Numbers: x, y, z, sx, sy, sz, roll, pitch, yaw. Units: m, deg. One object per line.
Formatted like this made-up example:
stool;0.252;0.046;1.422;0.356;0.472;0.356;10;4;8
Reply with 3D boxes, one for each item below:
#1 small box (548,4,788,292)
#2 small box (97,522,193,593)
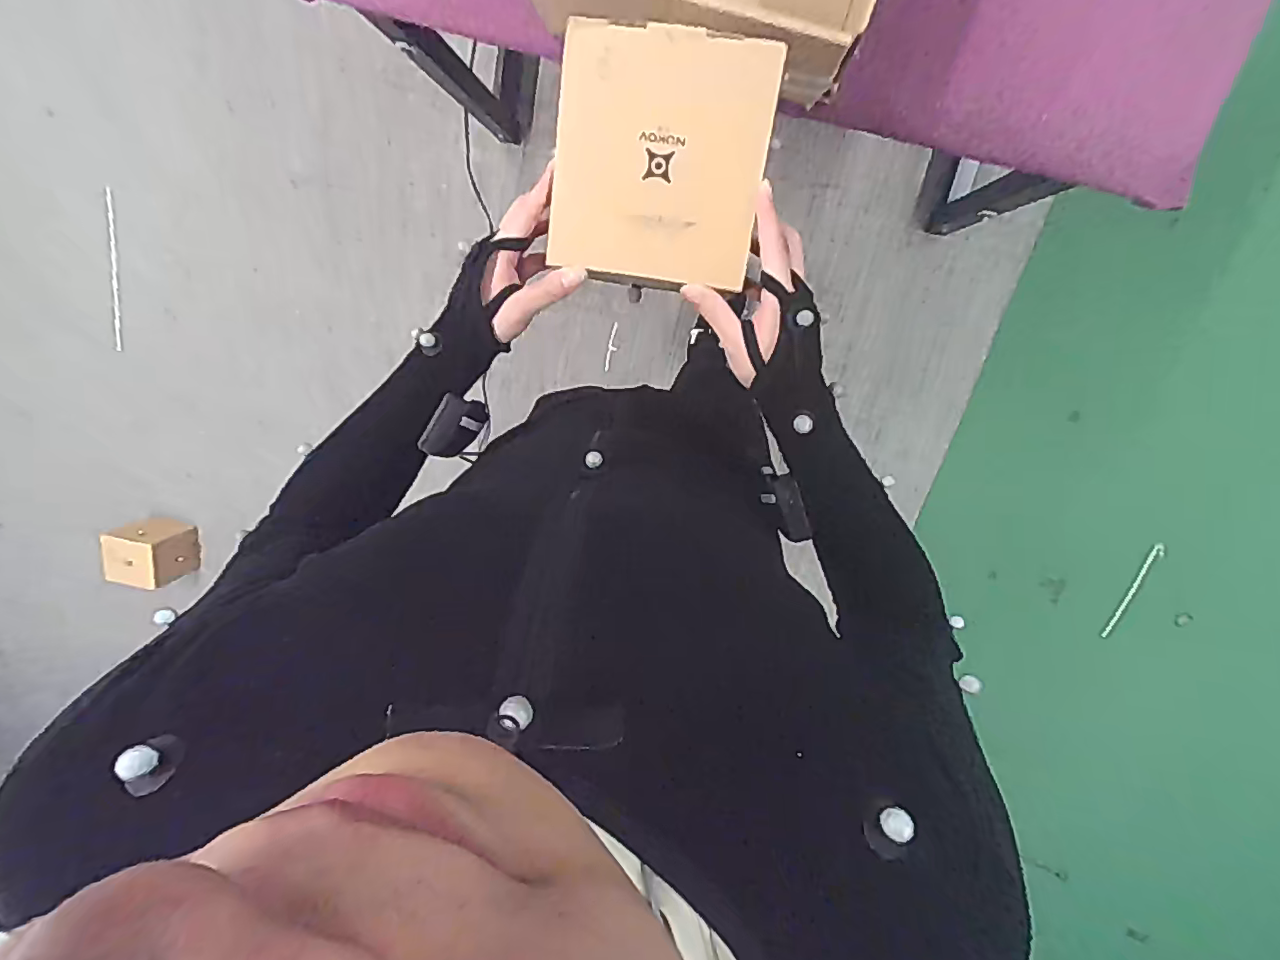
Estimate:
small box;0.022;-0.276;0.493;0.168;0.176;0.179;9;108;3
small box;-1.626;0.251;1.791;0.179;0.176;0.168;11;106;3
